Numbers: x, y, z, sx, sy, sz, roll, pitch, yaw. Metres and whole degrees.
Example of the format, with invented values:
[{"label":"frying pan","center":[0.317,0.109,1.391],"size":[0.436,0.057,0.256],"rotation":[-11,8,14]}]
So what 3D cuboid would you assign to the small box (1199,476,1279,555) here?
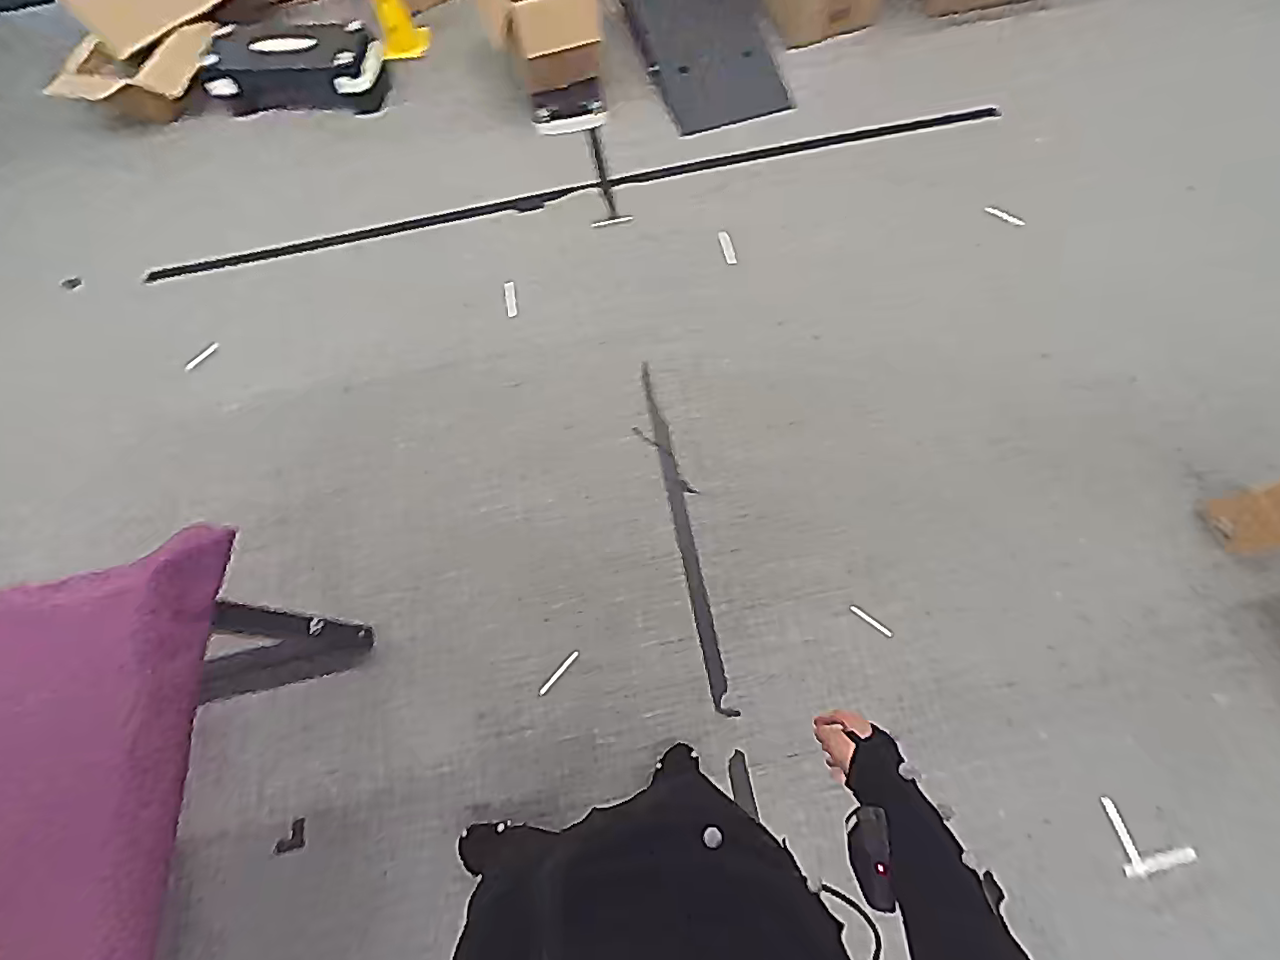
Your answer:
[{"label":"small box","center":[1.690,0.088,1.447],"size":[0.179,0.176,0.168],"rotation":[-16,68,-3]}]
